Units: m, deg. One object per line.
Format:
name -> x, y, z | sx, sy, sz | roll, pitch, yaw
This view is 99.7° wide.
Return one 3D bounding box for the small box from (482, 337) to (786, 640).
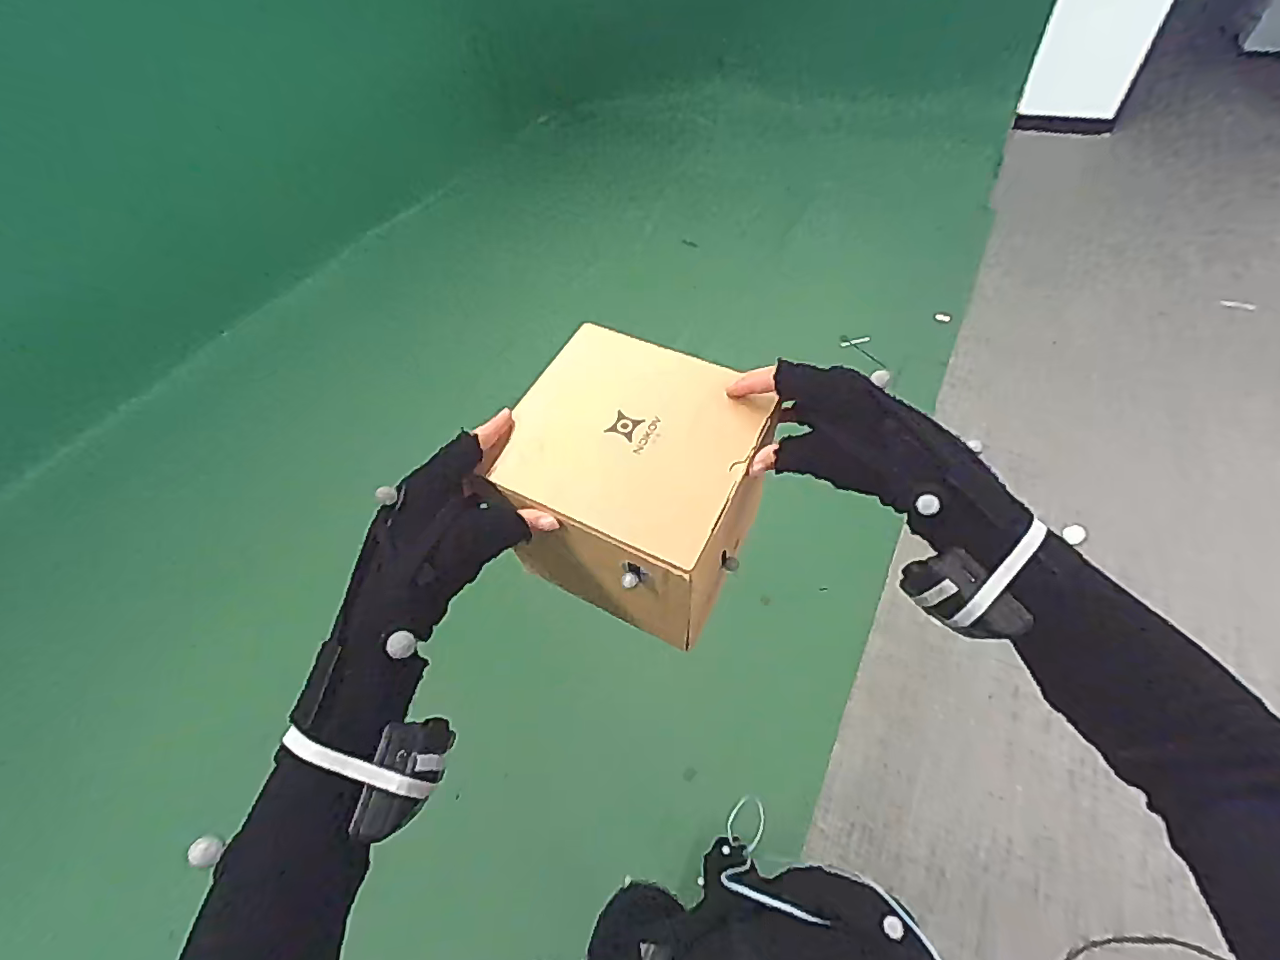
small box -> 0.001, 0.013, 0.465 | 0.179, 0.176, 0.168 | 23, 61, 17
